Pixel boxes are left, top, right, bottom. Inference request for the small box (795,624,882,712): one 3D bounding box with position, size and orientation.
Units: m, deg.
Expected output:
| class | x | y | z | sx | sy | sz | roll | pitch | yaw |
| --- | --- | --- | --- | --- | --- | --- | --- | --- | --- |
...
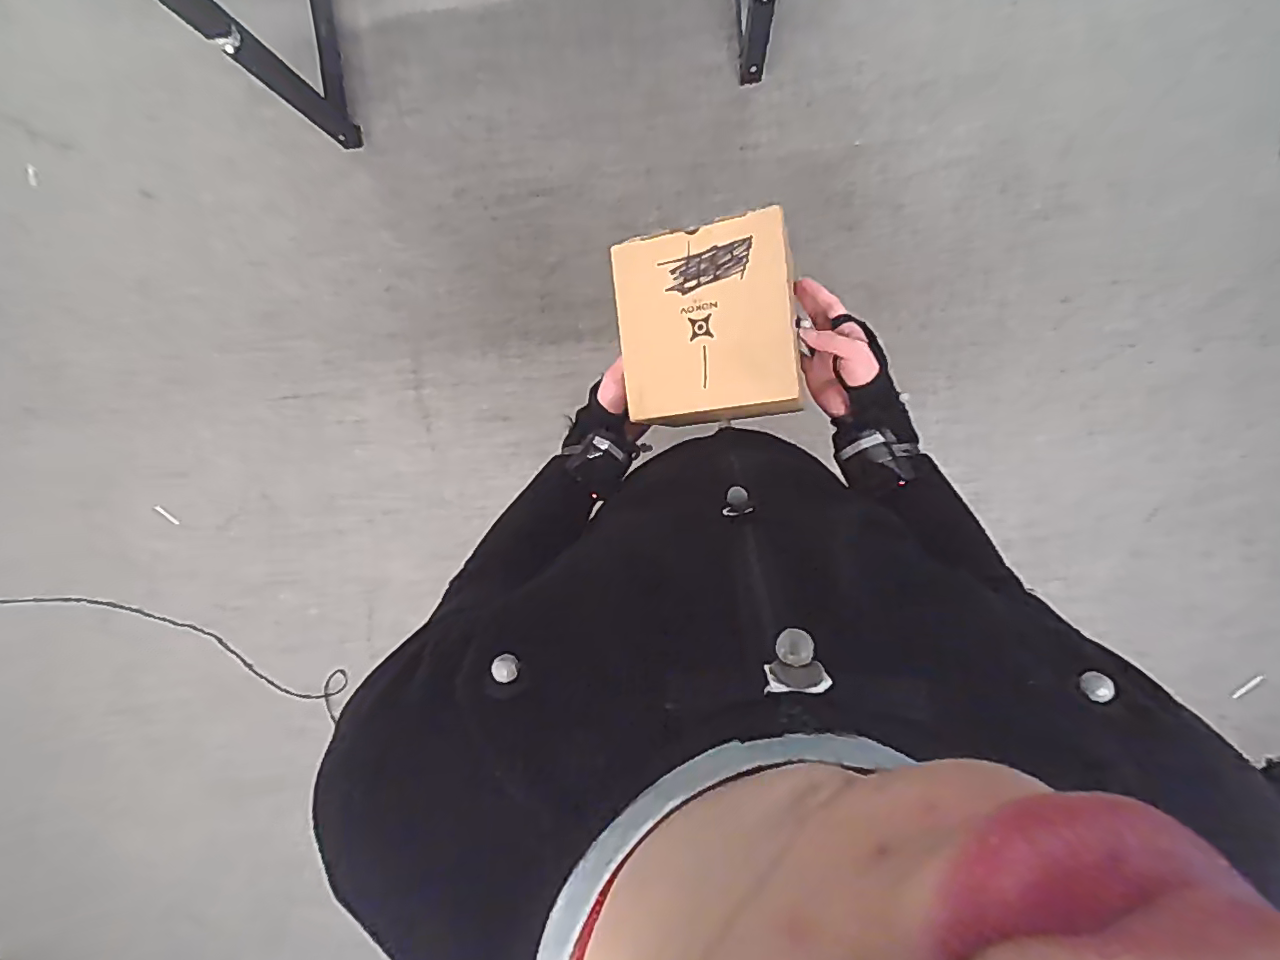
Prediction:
| class | x | y | z | sx | sy | sz | roll | pitch | yaw |
| --- | --- | --- | --- | --- | --- | --- | --- | --- | --- |
| small box | 0.544 | 0.515 | 1.504 | 0.179 | 0.176 | 0.168 | 8 | 94 | 5 |
